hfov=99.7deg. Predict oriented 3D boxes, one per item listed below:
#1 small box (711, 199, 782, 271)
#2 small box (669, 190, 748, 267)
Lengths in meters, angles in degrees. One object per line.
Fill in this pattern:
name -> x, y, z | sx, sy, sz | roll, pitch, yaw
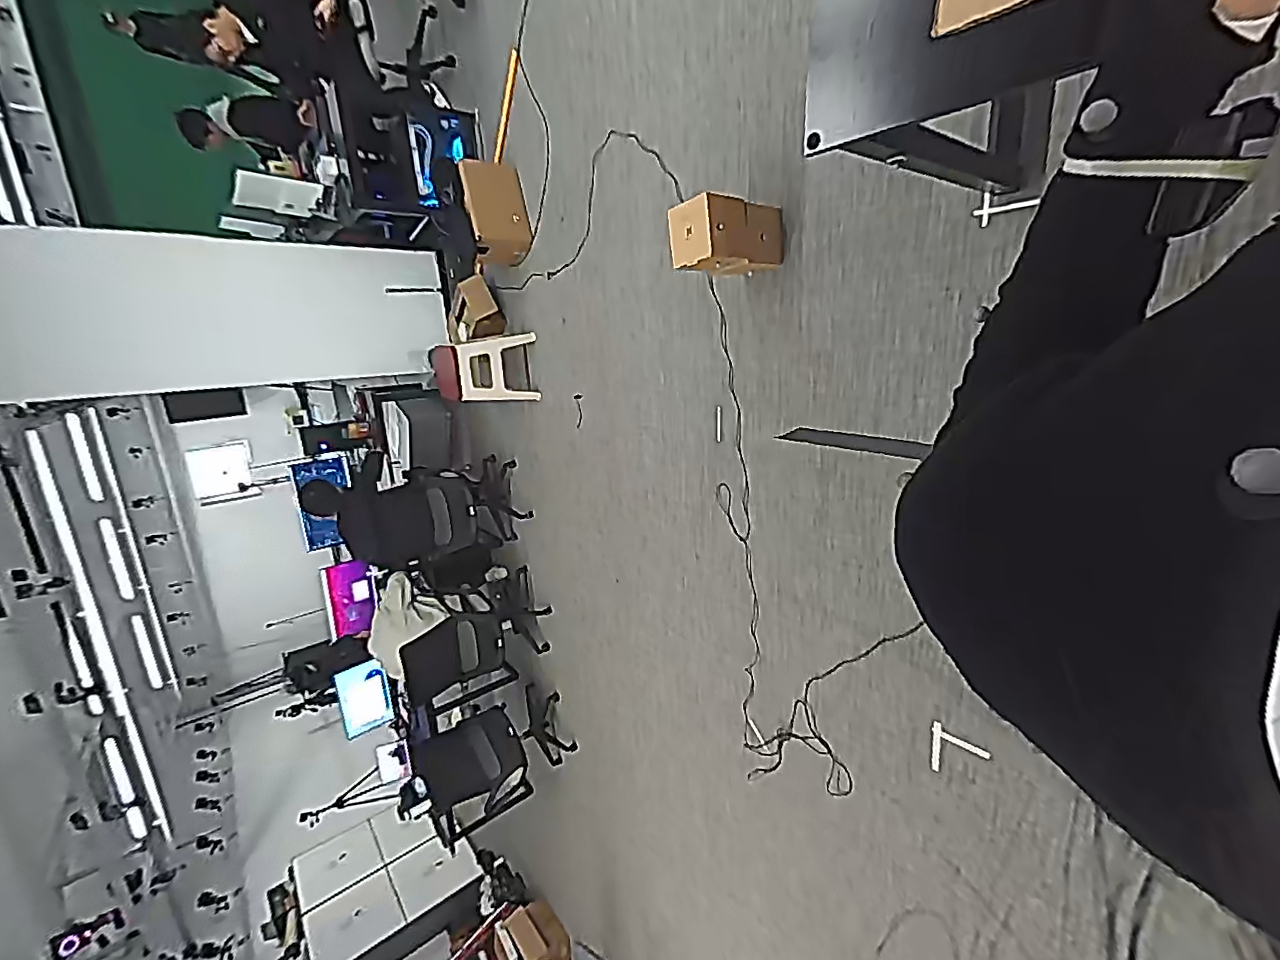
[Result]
small box -> 0.339, -0.776, 1.731 | 0.168, 0.176, 0.179 | 10, 110, 51
small box -> 0.211, -0.750, 1.633 | 0.168, 0.176, 0.179 | 6, 105, 51
